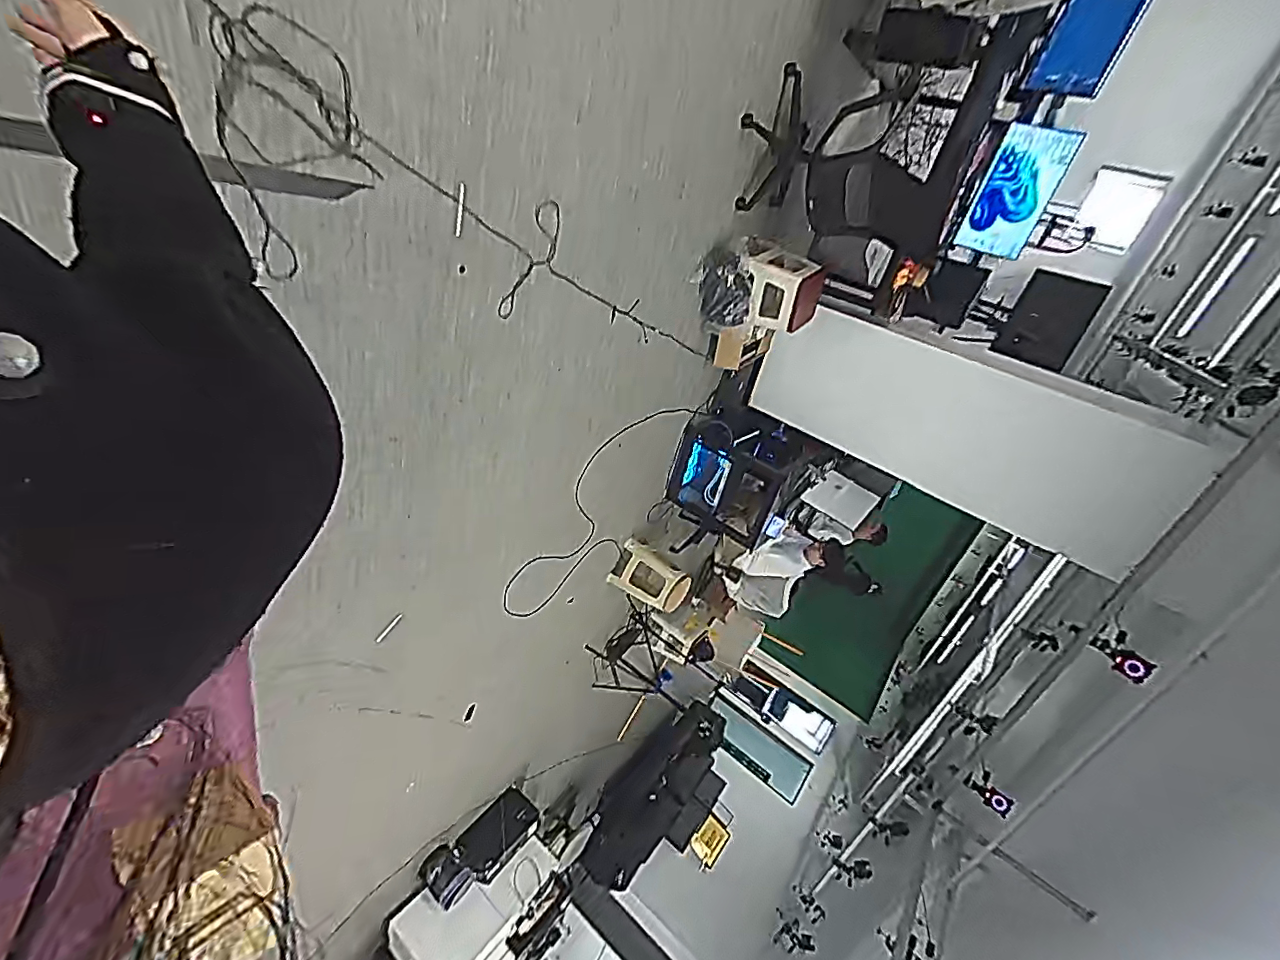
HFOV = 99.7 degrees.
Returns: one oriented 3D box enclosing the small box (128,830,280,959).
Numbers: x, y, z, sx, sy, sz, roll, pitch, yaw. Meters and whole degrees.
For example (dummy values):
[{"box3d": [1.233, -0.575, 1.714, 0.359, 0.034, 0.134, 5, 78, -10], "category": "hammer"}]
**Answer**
[{"box3d": [-0.778, 0.785, 0.969, 0.168, 0.176, 0.179, -19, 132, -54], "category": "small box"}]
